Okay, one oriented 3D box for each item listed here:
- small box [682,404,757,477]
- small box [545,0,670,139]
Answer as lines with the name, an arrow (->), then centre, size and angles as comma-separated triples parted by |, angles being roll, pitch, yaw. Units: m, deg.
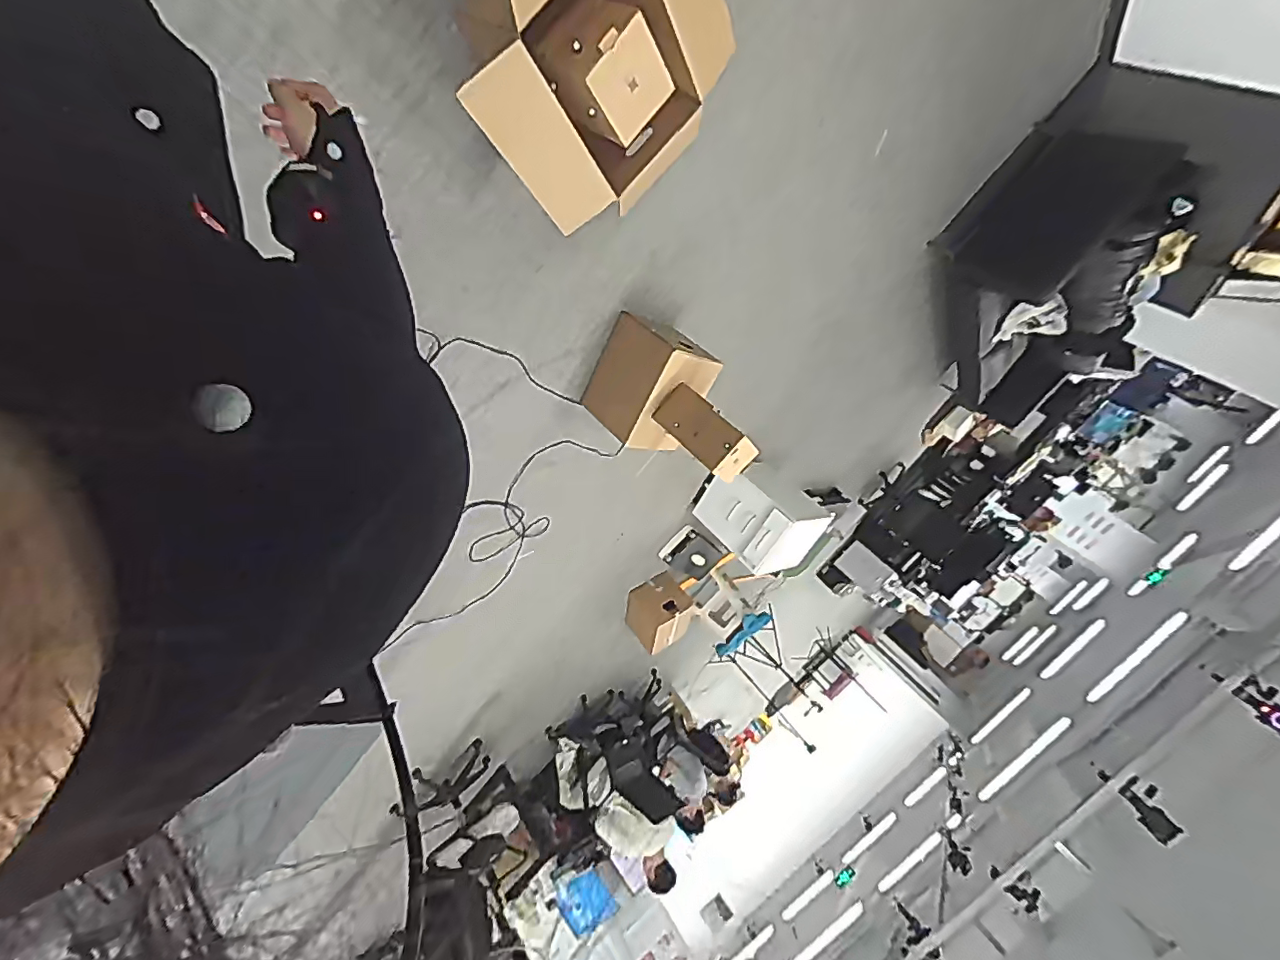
small box -> 0.281, -0.141, 1.909 | 0.168, 0.176, 0.179 | -50, 150, 7
small box -> -0.073, -0.894, 1.171 | 0.168, 0.176, 0.179 | -48, 149, 8
